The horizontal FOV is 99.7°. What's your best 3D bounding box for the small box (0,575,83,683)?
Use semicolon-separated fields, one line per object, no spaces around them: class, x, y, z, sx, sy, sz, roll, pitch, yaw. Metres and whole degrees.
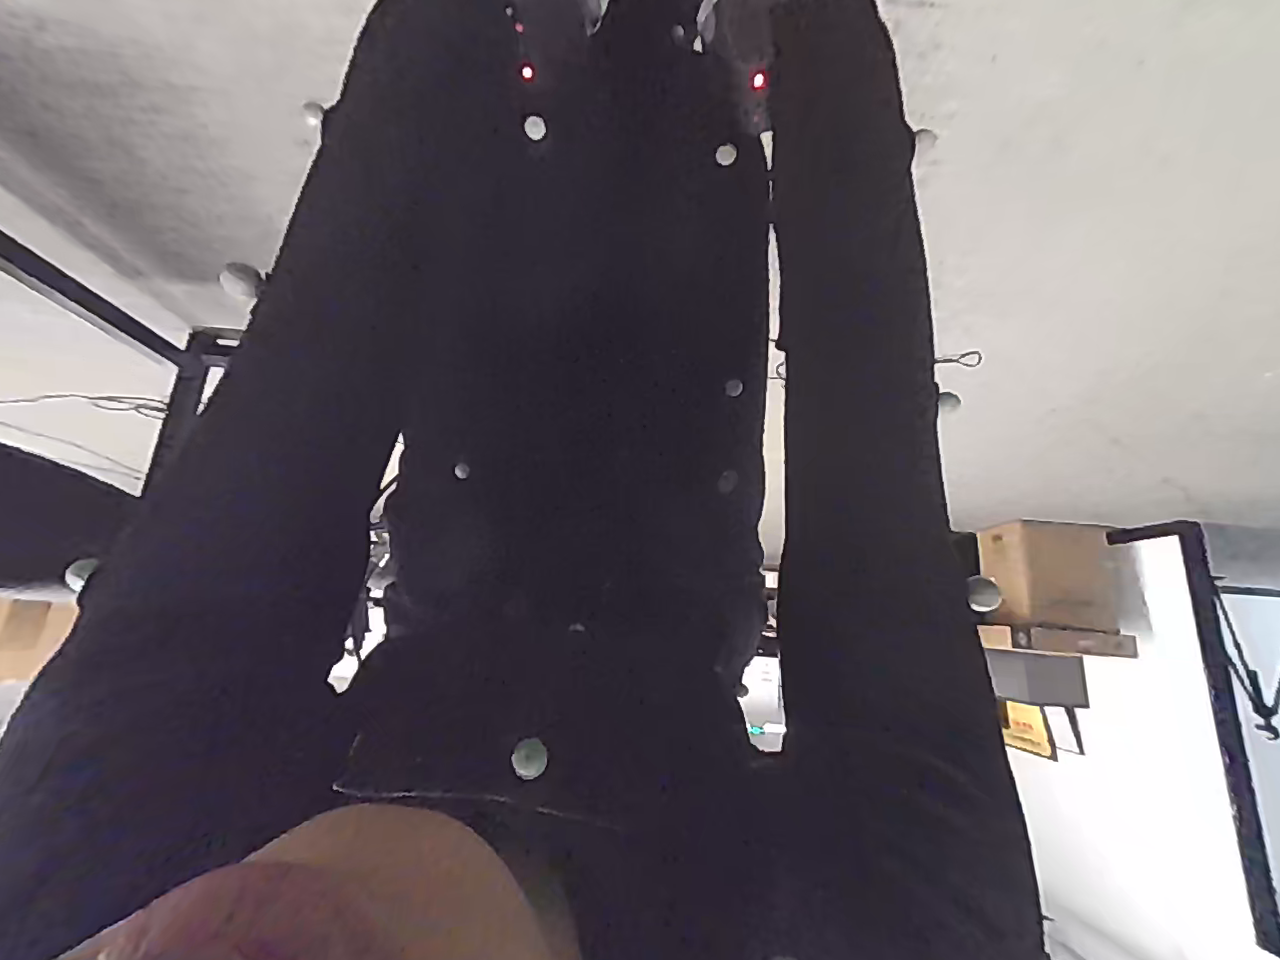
small box;-1.116;0.251;0.931;0.179;0.176;0.168;6;165;-8
